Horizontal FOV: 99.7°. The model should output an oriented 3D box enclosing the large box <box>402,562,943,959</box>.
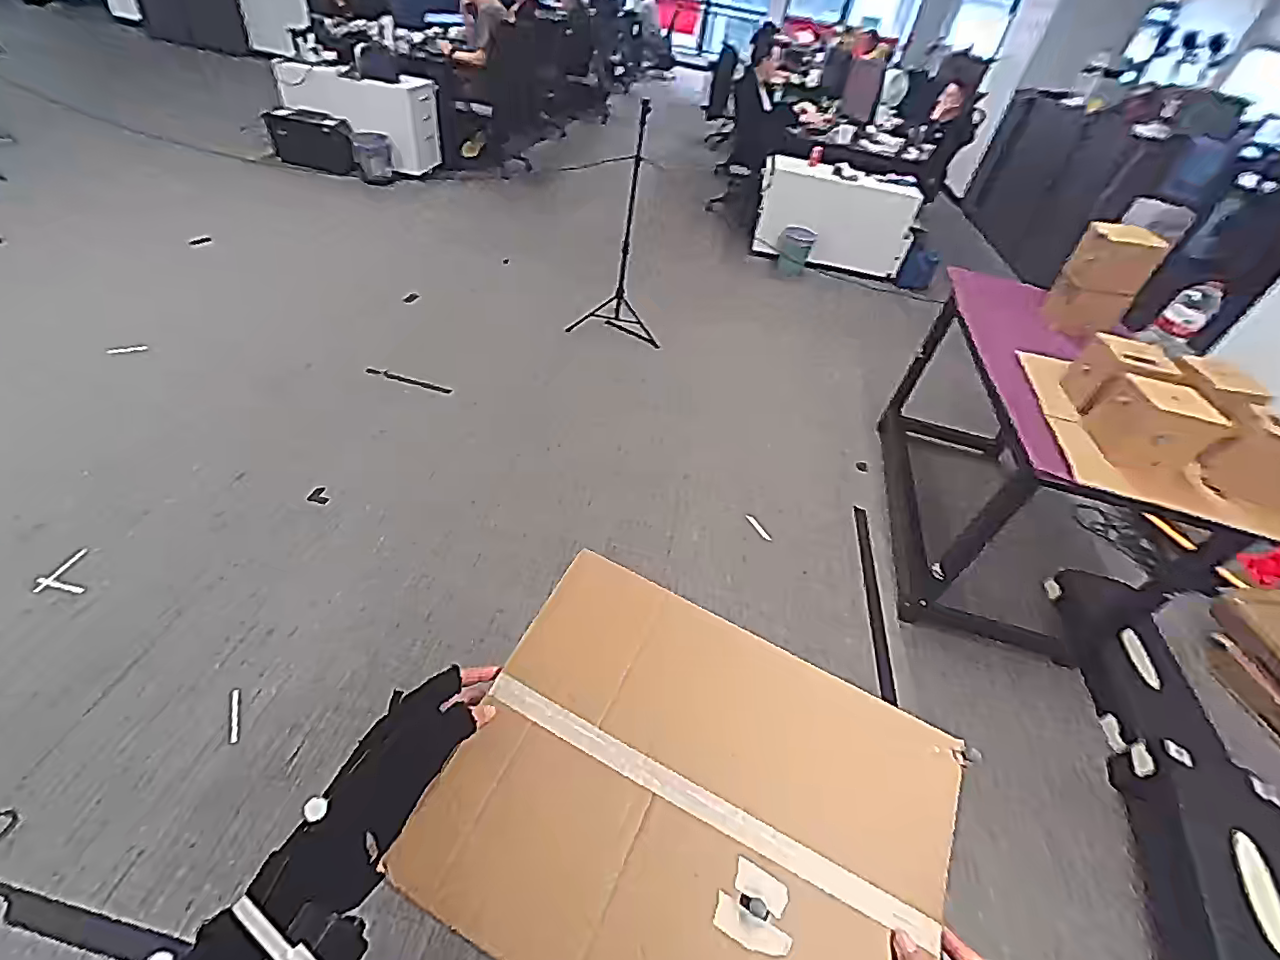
[{"bbox_3d":[0.034,0.359,0.594,0.408,0.320,0.320,26,57,10],"label":"large box"}]
